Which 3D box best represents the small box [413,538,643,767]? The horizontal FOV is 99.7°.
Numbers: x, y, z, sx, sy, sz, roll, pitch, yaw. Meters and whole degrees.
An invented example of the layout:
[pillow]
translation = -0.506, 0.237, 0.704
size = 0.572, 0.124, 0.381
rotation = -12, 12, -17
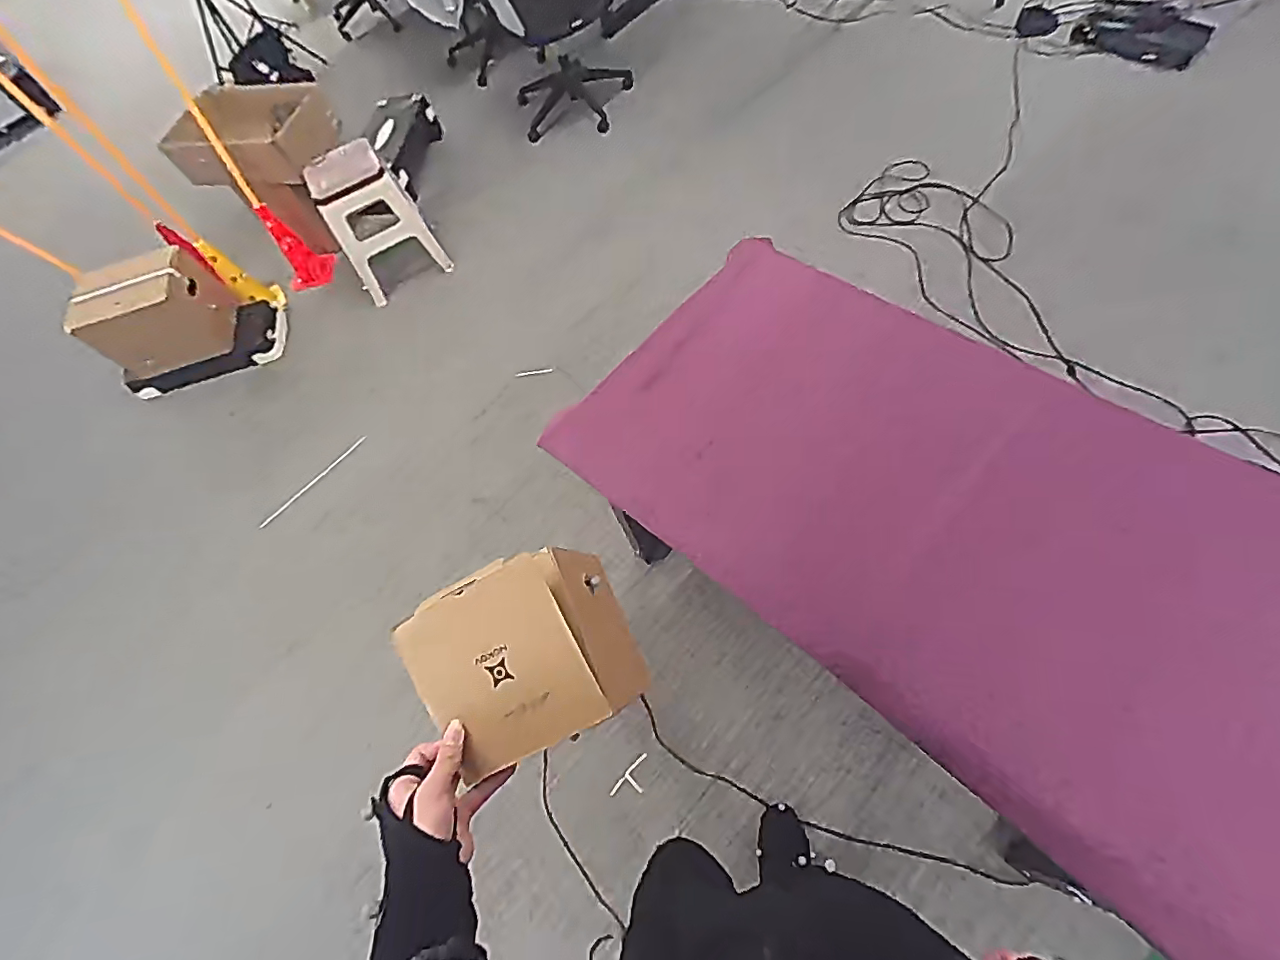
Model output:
[small box]
translation = -0.115, 0.183, 0.609
size = 0.168, 0.176, 0.179
rotation = -26, 75, 9
